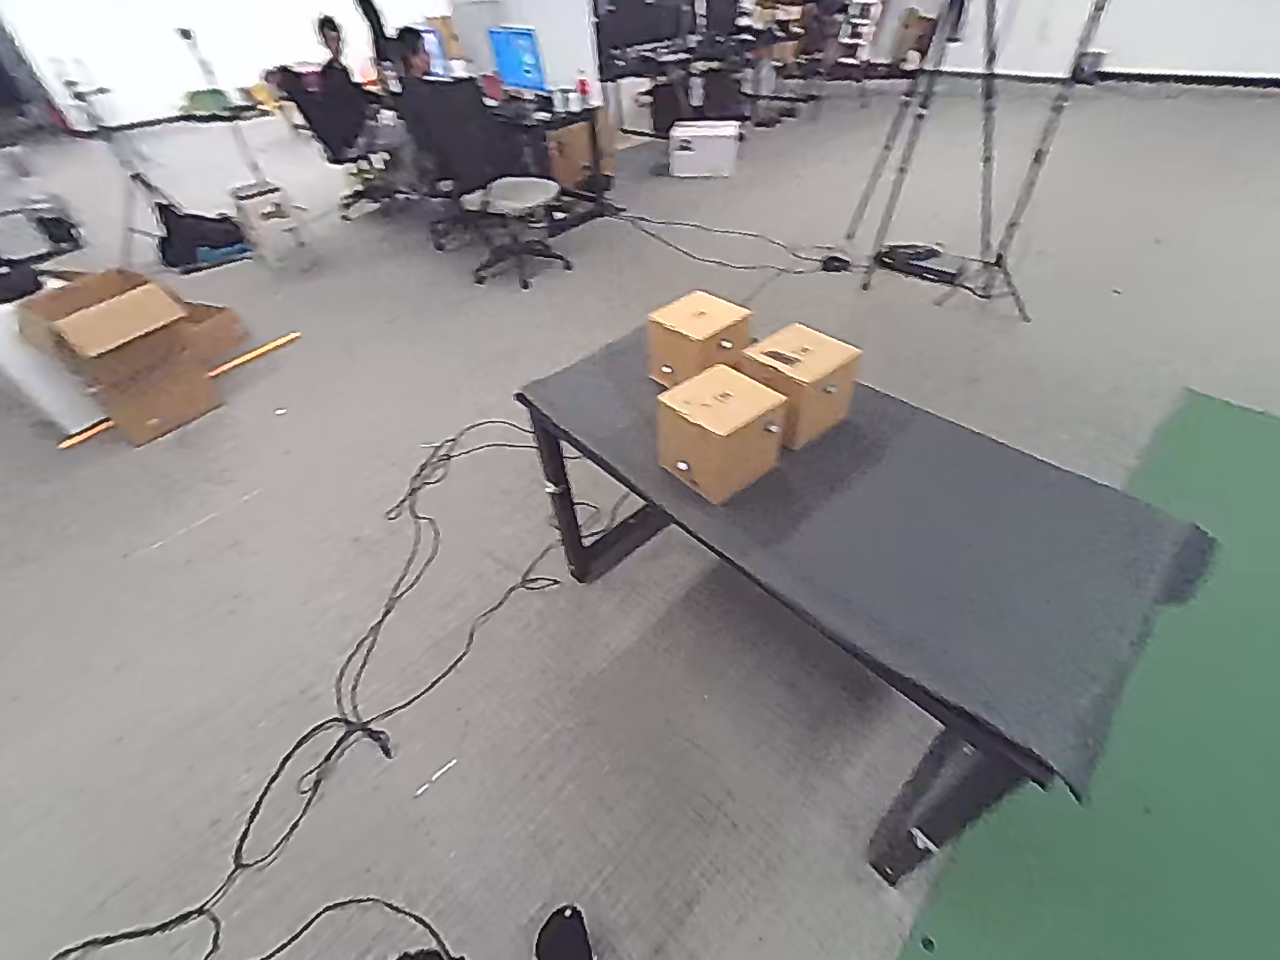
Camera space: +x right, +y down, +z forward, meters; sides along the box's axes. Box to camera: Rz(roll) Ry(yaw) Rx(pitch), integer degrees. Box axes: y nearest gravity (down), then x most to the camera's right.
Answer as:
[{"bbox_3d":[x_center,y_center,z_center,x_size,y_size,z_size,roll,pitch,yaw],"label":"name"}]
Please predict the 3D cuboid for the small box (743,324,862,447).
[{"bbox_3d":[0.333,-0.199,1.144,0.179,0.176,0.168,-31,50,-25],"label":"small box"}]

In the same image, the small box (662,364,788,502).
[{"bbox_3d":[0.157,-0.091,1.046,0.179,0.176,0.168,-31,50,-26],"label":"small box"}]

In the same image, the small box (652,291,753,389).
[{"bbox_3d":[0.144,-0.320,1.286,0.179,0.176,0.168,-34,51,-26],"label":"small box"}]
